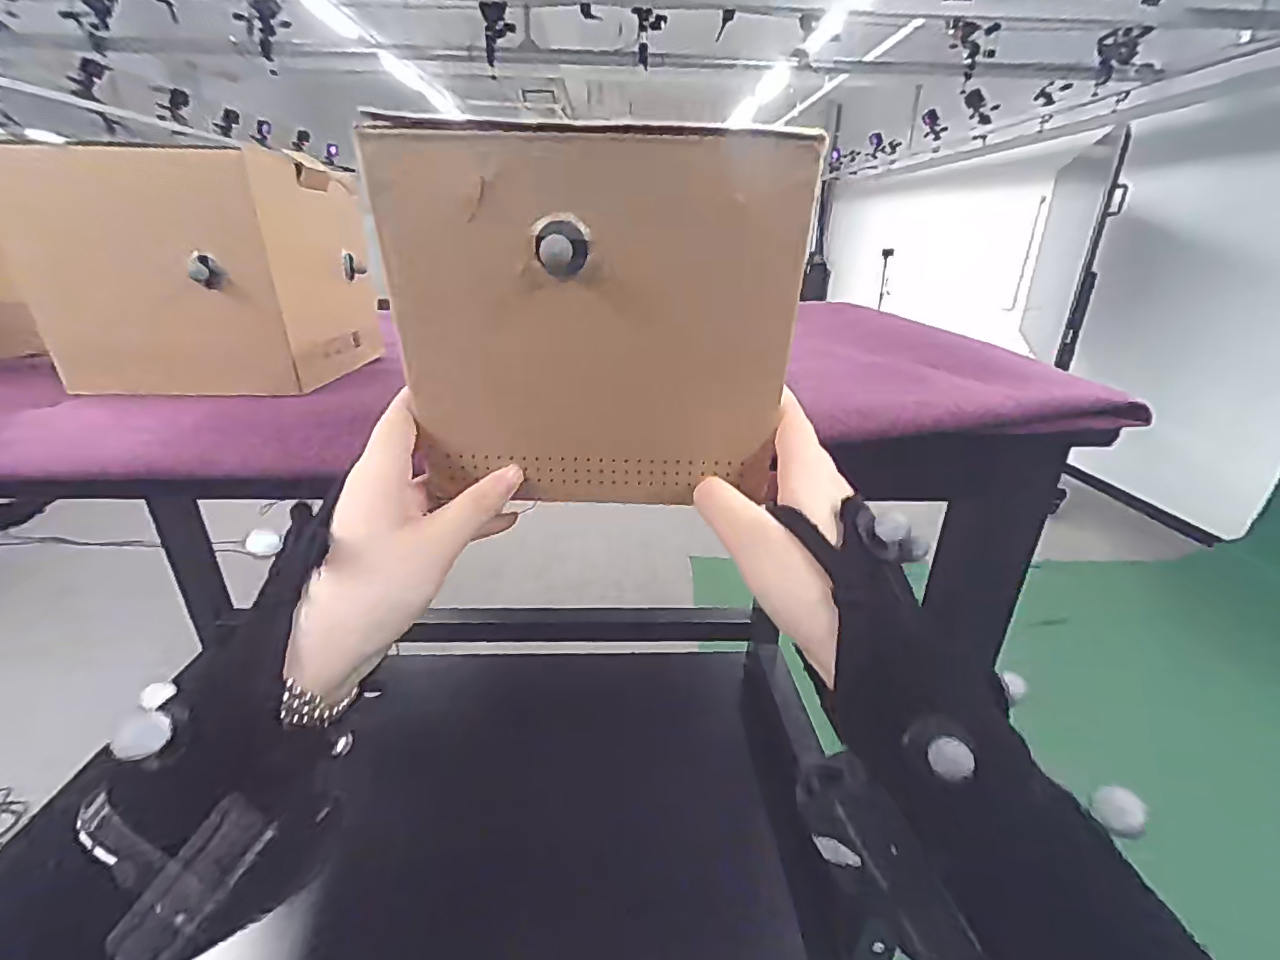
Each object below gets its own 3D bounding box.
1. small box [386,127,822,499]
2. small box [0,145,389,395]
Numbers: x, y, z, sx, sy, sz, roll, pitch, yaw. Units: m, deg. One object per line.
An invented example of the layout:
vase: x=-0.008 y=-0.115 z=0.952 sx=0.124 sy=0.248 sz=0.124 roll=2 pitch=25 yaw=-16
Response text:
small box: x=-0.014 y=-0.101 z=0.318 sx=0.179 sy=0.176 sz=0.168 roll=3 pitch=32 yaw=0
small box: x=-0.338 y=-0.172 z=0.461 sx=0.179 sy=0.176 sz=0.168 roll=-1 pitch=22 yaw=-3
